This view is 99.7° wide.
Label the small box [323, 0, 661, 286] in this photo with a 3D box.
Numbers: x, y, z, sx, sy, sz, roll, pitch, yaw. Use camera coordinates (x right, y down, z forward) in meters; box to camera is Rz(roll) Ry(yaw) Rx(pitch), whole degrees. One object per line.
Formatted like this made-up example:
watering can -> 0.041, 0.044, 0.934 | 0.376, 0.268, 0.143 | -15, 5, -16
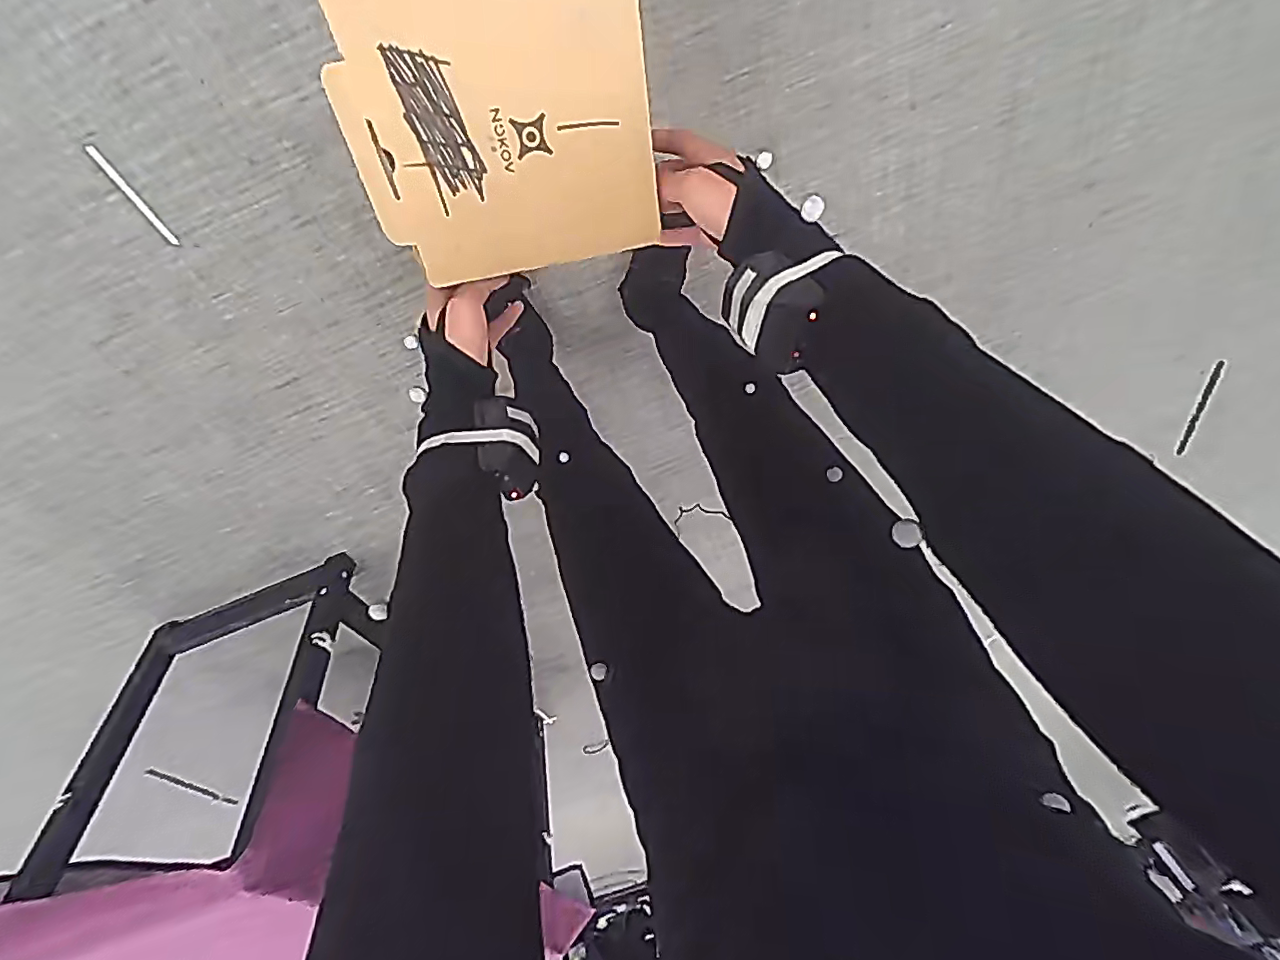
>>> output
small box -> -0.091, -0.268, 0.405 | 0.179, 0.176, 0.168 | -13, 131, -3
